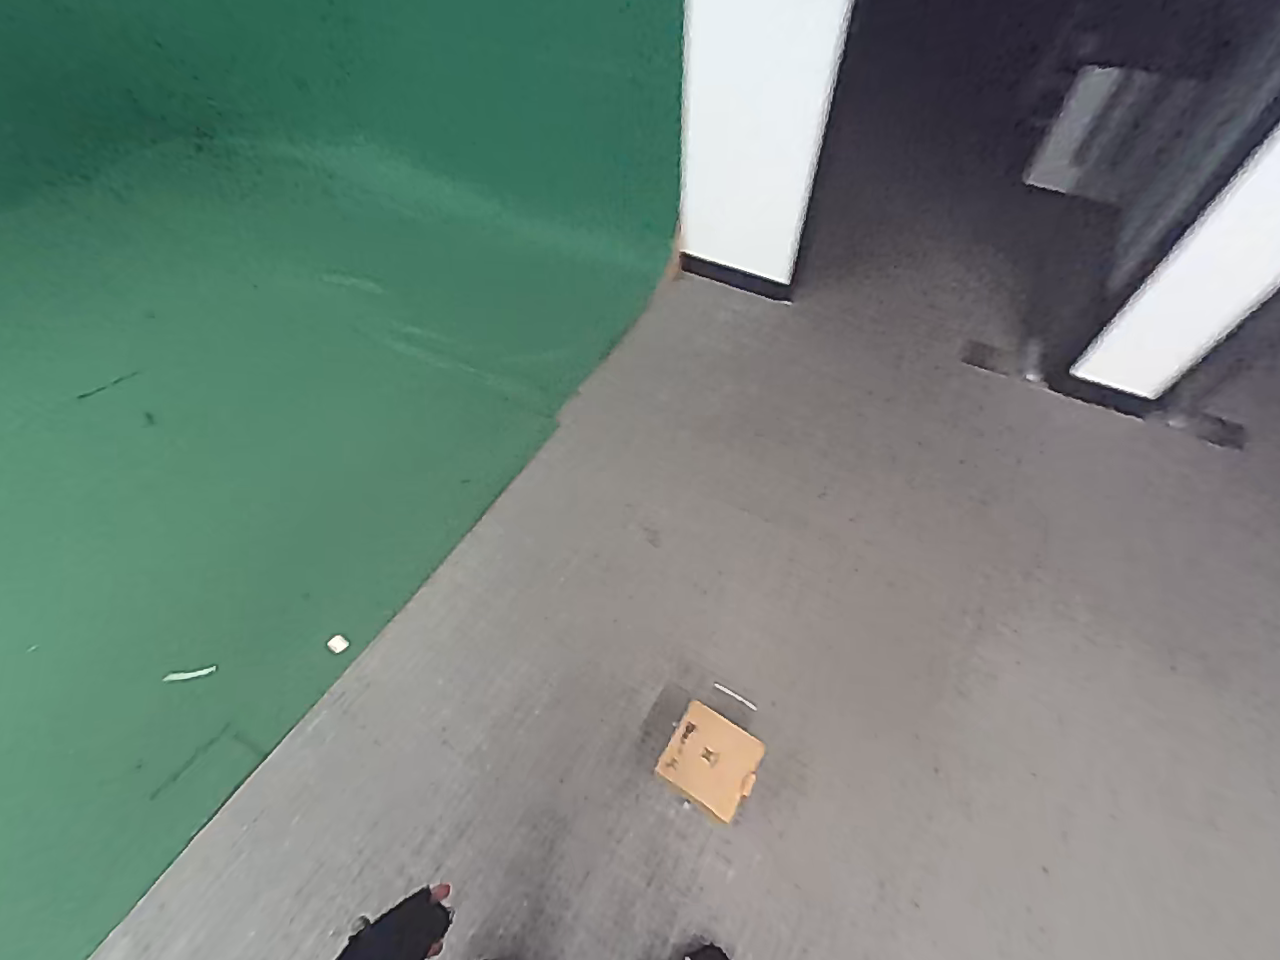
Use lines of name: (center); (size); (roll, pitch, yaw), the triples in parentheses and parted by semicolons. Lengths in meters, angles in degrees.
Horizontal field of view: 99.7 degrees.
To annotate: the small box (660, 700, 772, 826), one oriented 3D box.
small box: (0.160, 0.612, 1.169); (0.179, 0.176, 0.168); (29, 63, 21)
